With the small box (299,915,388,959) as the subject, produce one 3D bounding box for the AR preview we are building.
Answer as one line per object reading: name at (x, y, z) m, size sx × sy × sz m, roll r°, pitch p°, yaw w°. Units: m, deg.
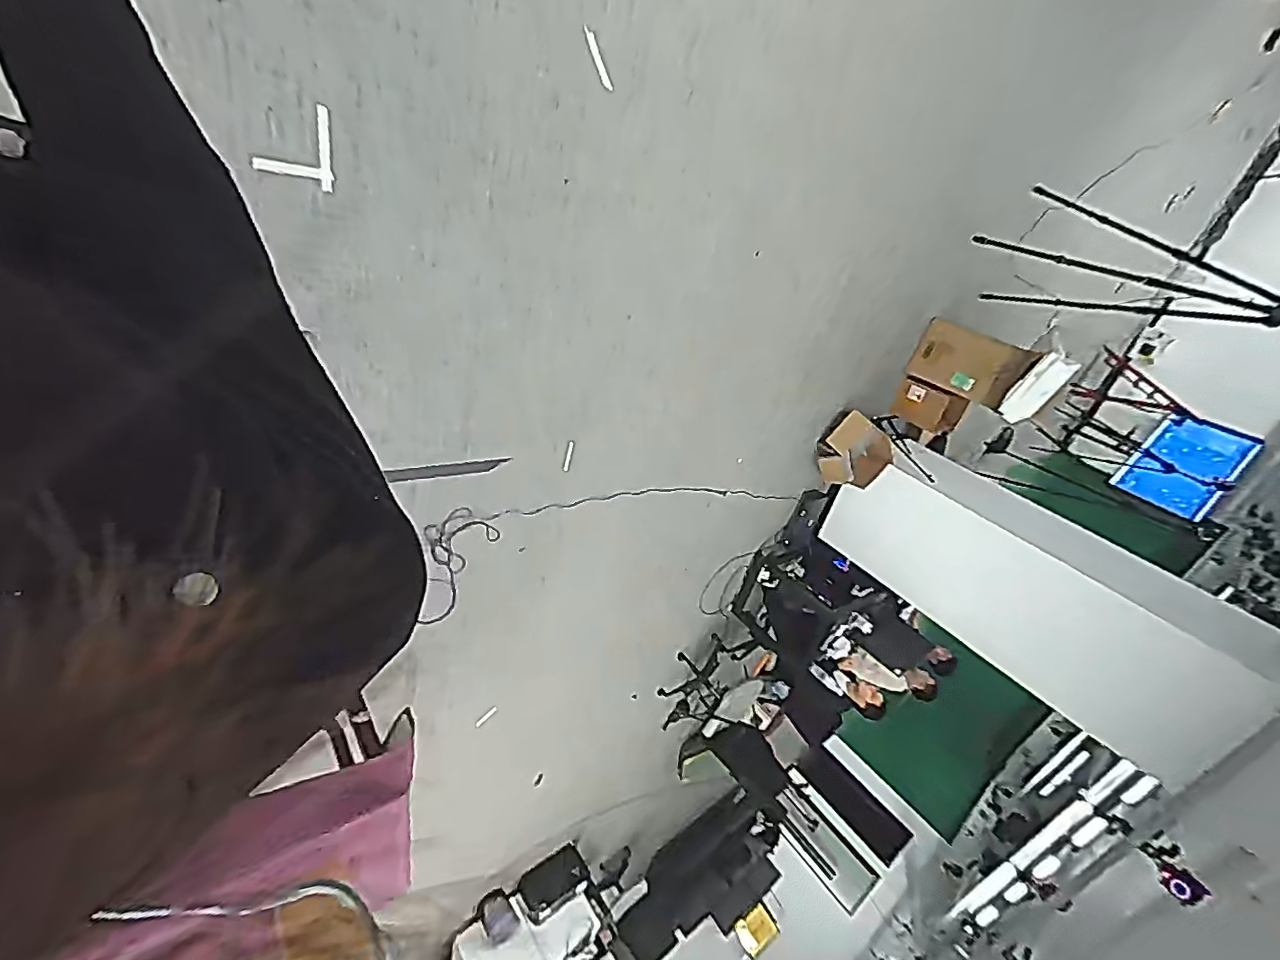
small box at (-0.737, 1.250, 1.348) m, size 0.179 × 0.176 × 0.168 m, roll -2°, pitch 122°, yaw -44°
